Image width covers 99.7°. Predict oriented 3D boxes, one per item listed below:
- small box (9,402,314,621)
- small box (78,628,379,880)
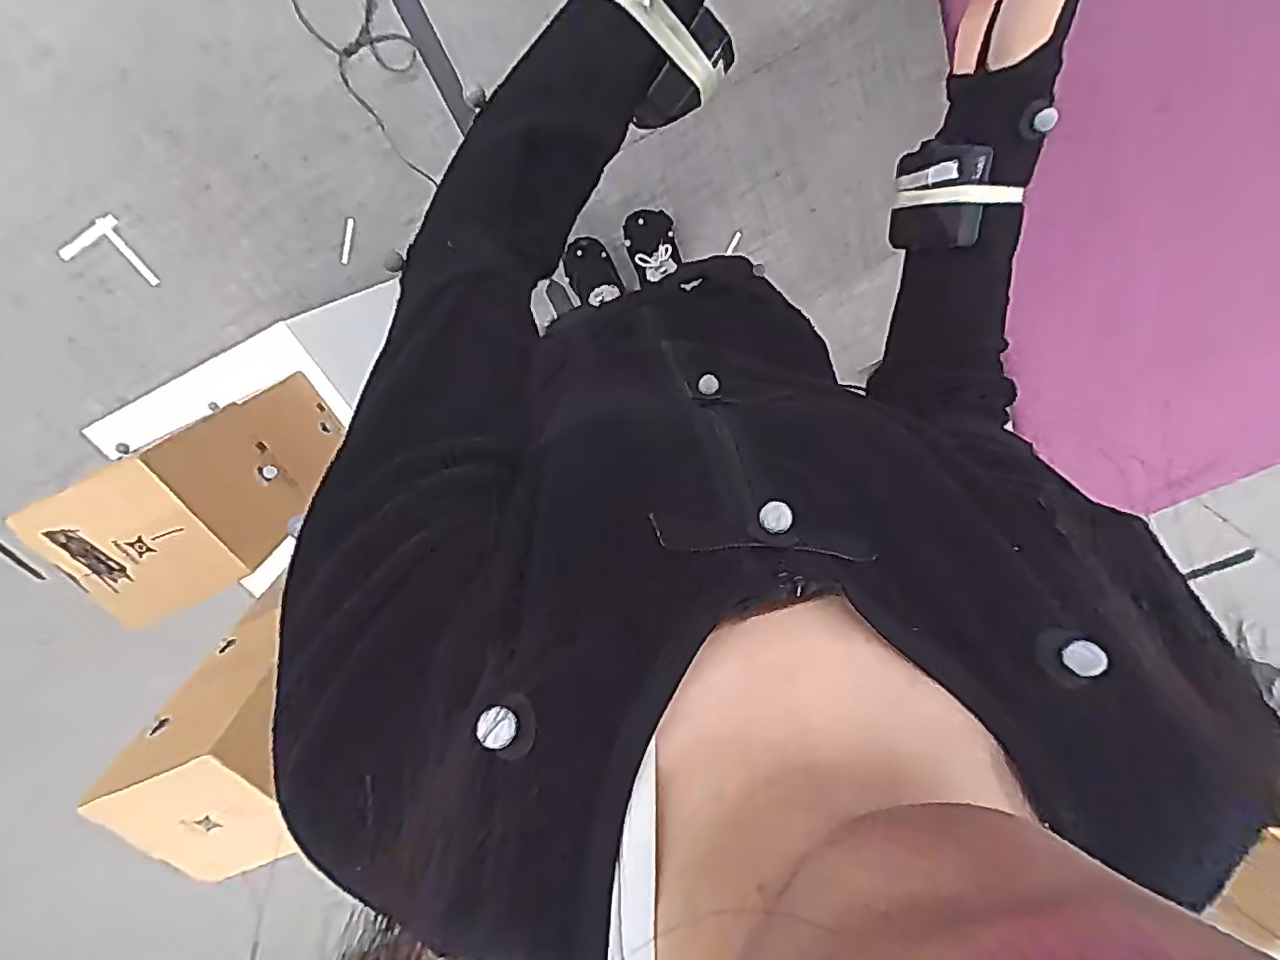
[{"bbox_3d":[-0.544,0.031,0.649,0.179,0.176,0.168,-22,117,7],"label":"small box"},{"bbox_3d":[-0.442,0.305,0.618,0.179,0.176,0.168,-25,117,9],"label":"small box"}]
